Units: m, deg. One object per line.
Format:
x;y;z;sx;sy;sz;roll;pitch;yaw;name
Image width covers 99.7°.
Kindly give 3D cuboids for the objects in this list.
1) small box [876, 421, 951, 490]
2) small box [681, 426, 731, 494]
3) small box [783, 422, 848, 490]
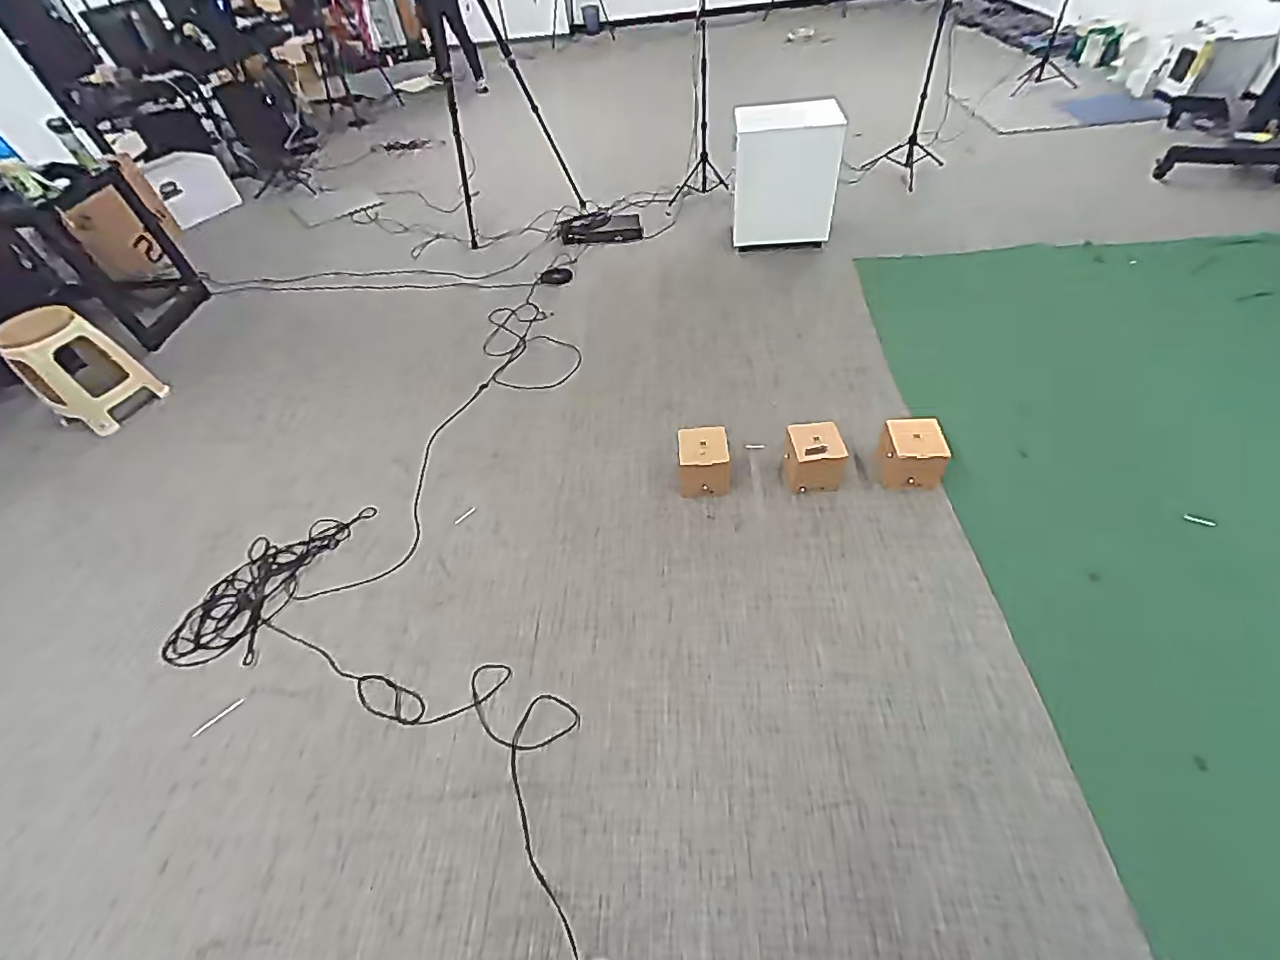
0.926;-0.084;1.849;0.168;0.176;0.179;-1;49;6;small box
0.230;-0.069;1.907;0.168;0.176;0.179;-4;49;5;small box
0.603;-0.077;1.876;0.168;0.176;0.179;-4;48;2;small box
